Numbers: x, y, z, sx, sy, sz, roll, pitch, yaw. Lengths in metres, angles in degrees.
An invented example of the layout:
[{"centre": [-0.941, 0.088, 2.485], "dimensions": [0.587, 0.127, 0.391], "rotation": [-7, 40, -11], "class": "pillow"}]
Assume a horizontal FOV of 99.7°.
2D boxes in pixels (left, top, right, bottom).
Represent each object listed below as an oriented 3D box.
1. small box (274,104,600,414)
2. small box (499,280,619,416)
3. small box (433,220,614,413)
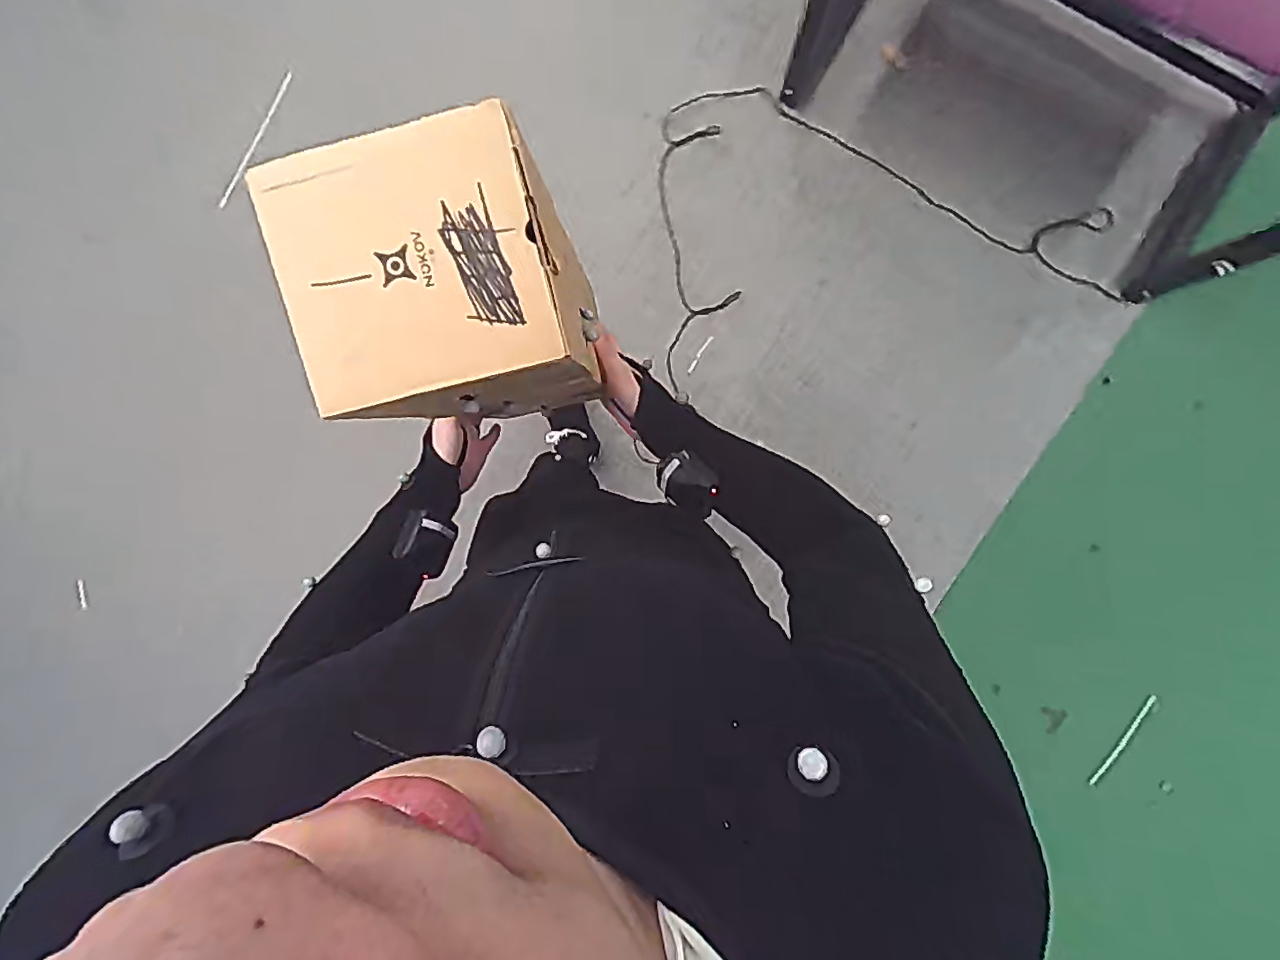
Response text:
[{"centre": [-0.132, -0.150, 0.429], "dimensions": [0.179, 0.176, 0.168], "rotation": [-12, 96, 2], "class": "small box"}, {"centre": [-0.131, -0.184, 0.755], "dimensions": [0.179, 0.176, 0.168], "rotation": [-10, 96, 1], "class": "small box"}, {"centre": [-0.132, -0.168, 0.593], "dimensions": [0.179, 0.176, 0.168], "rotation": [-11, 97, 2], "class": "small box"}]
